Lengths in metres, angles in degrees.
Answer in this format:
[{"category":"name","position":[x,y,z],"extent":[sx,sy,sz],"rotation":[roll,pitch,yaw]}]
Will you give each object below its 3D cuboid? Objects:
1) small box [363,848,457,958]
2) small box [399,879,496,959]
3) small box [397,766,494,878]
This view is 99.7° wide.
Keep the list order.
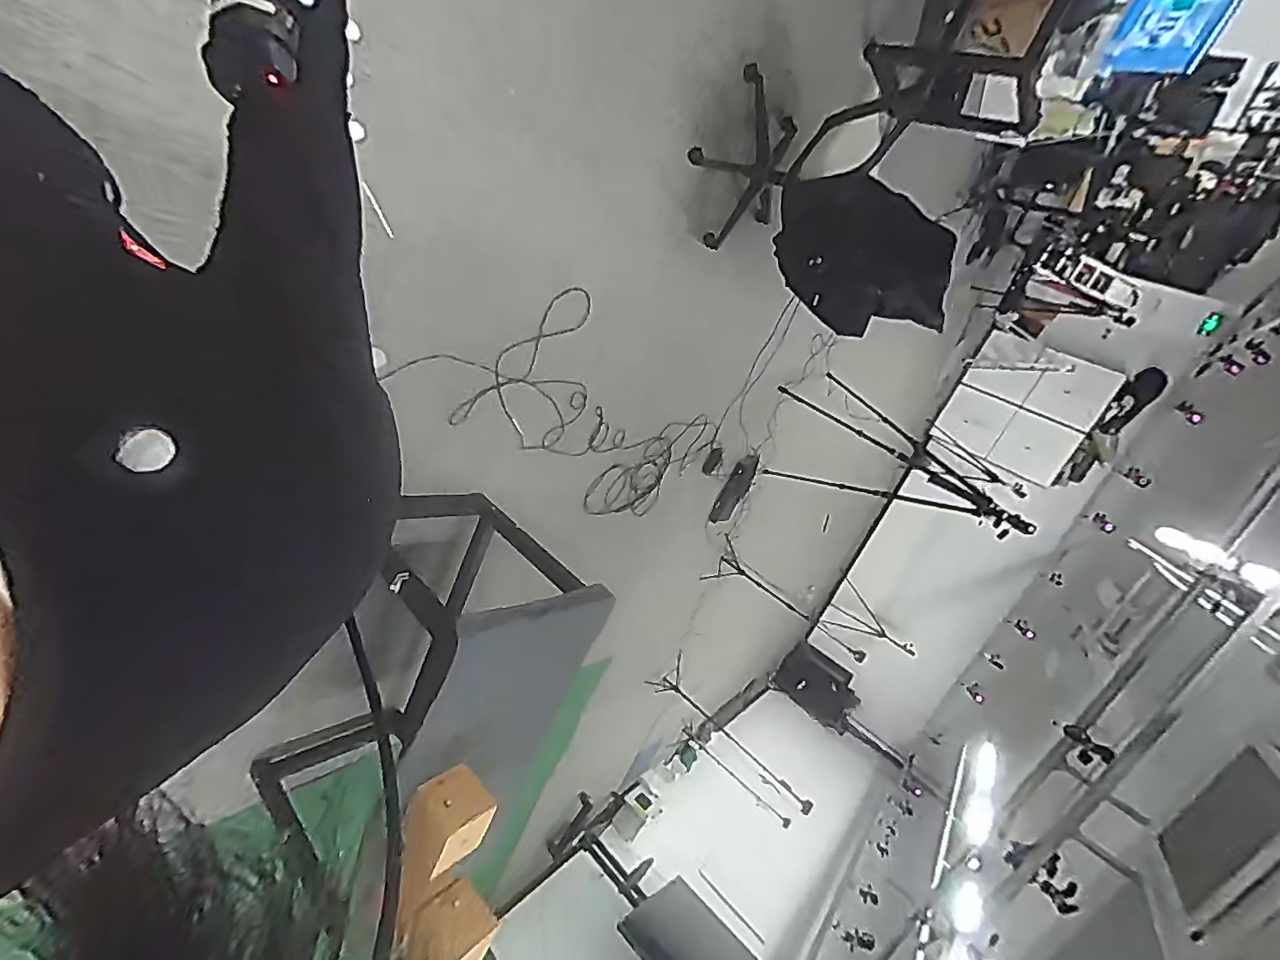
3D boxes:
[{"category":"small box","position":[-0.673,1.207,1.574],"extent":[0.168,0.176,0.179],"rotation":[7,112,-60]},{"category":"small box","position":[-0.540,1.274,1.503],"extent":[0.168,0.176,0.179],"rotation":[5,113,-59]},{"category":"small box","position":[-0.543,0.929,1.498],"extent":[0.168,0.176,0.179],"rotation":[-1,121,-56]}]
